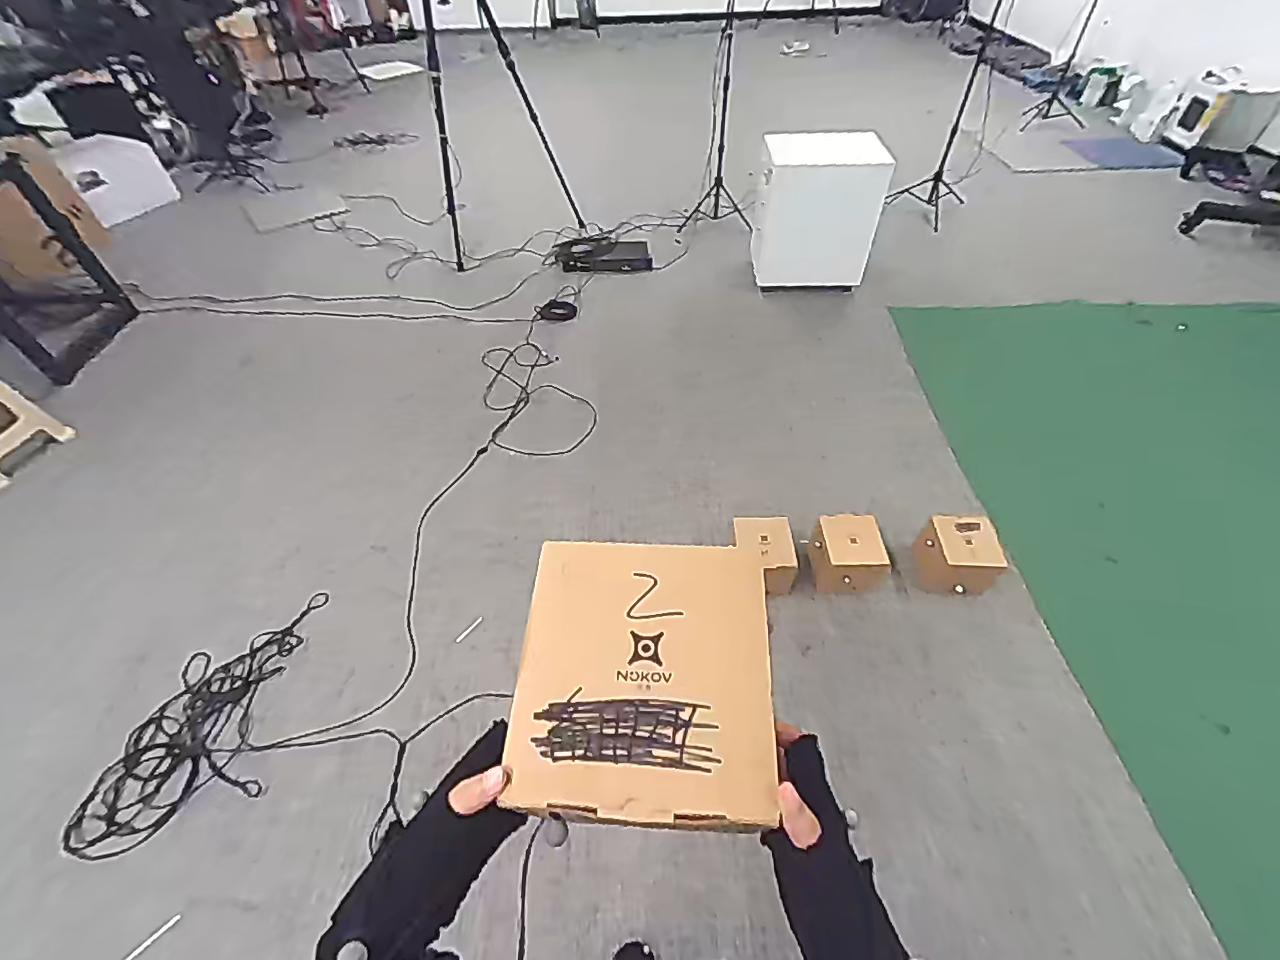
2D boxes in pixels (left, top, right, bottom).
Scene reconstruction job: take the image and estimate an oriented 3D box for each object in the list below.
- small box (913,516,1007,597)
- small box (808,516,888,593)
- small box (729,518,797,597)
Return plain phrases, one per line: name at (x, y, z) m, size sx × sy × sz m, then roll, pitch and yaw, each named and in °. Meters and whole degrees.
small box at (0.943, 0.228, 1.616) m, size 0.168 × 0.176 × 0.179 m, roll 2°, pitch 50°, yaw 3°
small box at (0.617, 0.229, 1.626) m, size 0.168 × 0.176 × 0.179 m, roll -1°, pitch 48°, yaw 1°
small box at (0.362, 0.233, 1.625) m, size 0.168 × 0.176 × 0.179 m, roll -1°, pitch 49°, yaw 2°
